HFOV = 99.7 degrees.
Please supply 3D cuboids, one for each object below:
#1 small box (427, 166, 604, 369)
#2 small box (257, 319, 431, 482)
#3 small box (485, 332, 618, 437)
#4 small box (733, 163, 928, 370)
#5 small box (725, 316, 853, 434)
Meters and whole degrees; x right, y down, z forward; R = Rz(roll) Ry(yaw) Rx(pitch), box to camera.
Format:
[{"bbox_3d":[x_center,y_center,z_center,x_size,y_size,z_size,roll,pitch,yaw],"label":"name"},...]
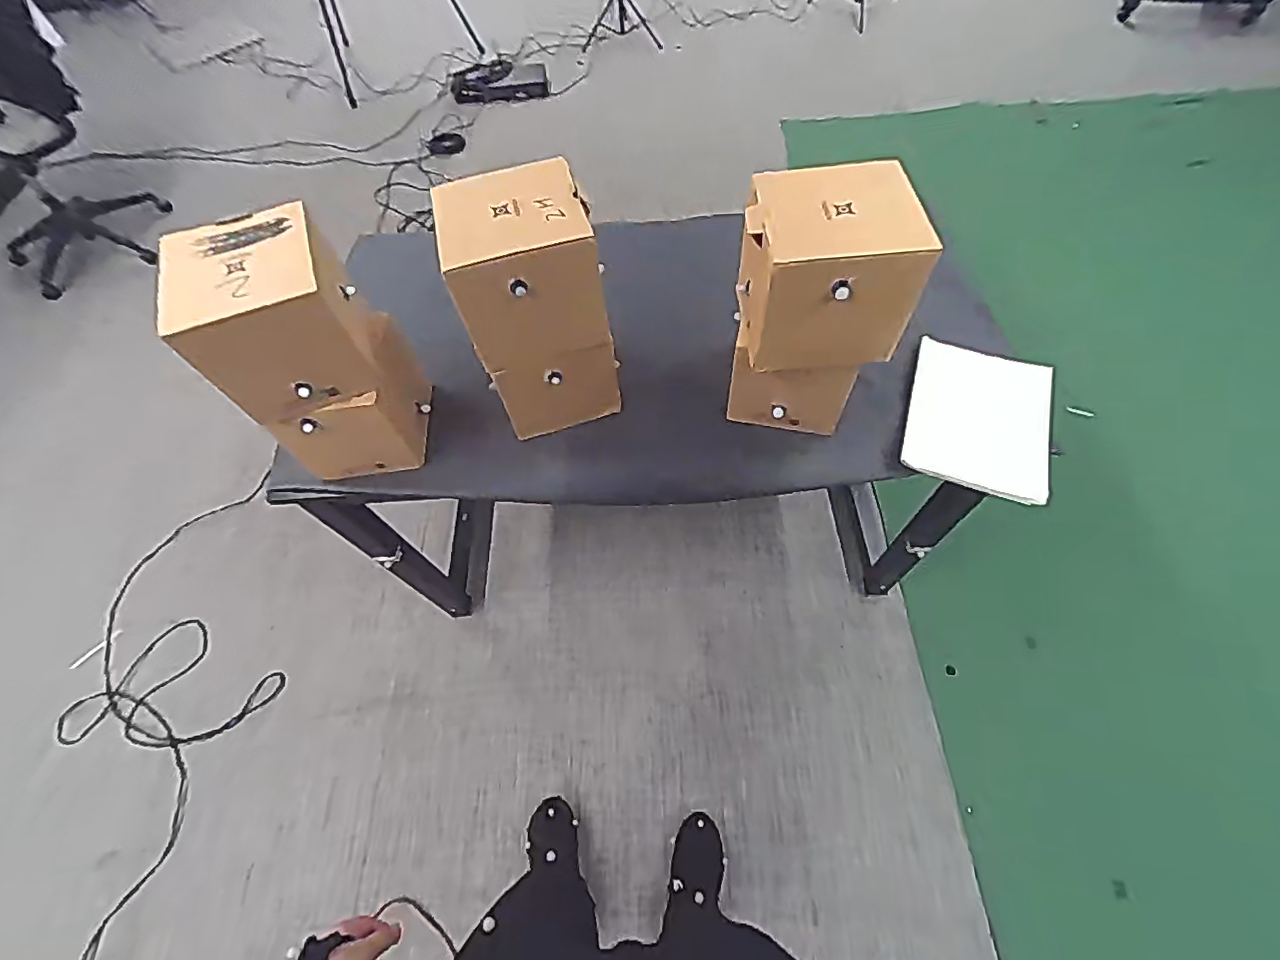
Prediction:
[{"bbox_3d":[-0.157,-0.271,0.713,0.179,0.176,0.168,-16,61,-4],"label":"small box"},{"bbox_3d":[-0.439,-0.119,0.838,0.168,0.176,0.179,-8,60,0],"label":"small box"},{"bbox_3d":[-0.145,-0.192,0.857,0.179,0.176,0.168,-18,61,-6],"label":"small box"},{"bbox_3d":[0.217,-0.257,0.672,0.179,0.176,0.168,-5,59,3],"label":"small box"},{"bbox_3d":[0.226,-0.197,0.826,0.168,0.176,0.179,10,62,11],"label":"small box"}]
